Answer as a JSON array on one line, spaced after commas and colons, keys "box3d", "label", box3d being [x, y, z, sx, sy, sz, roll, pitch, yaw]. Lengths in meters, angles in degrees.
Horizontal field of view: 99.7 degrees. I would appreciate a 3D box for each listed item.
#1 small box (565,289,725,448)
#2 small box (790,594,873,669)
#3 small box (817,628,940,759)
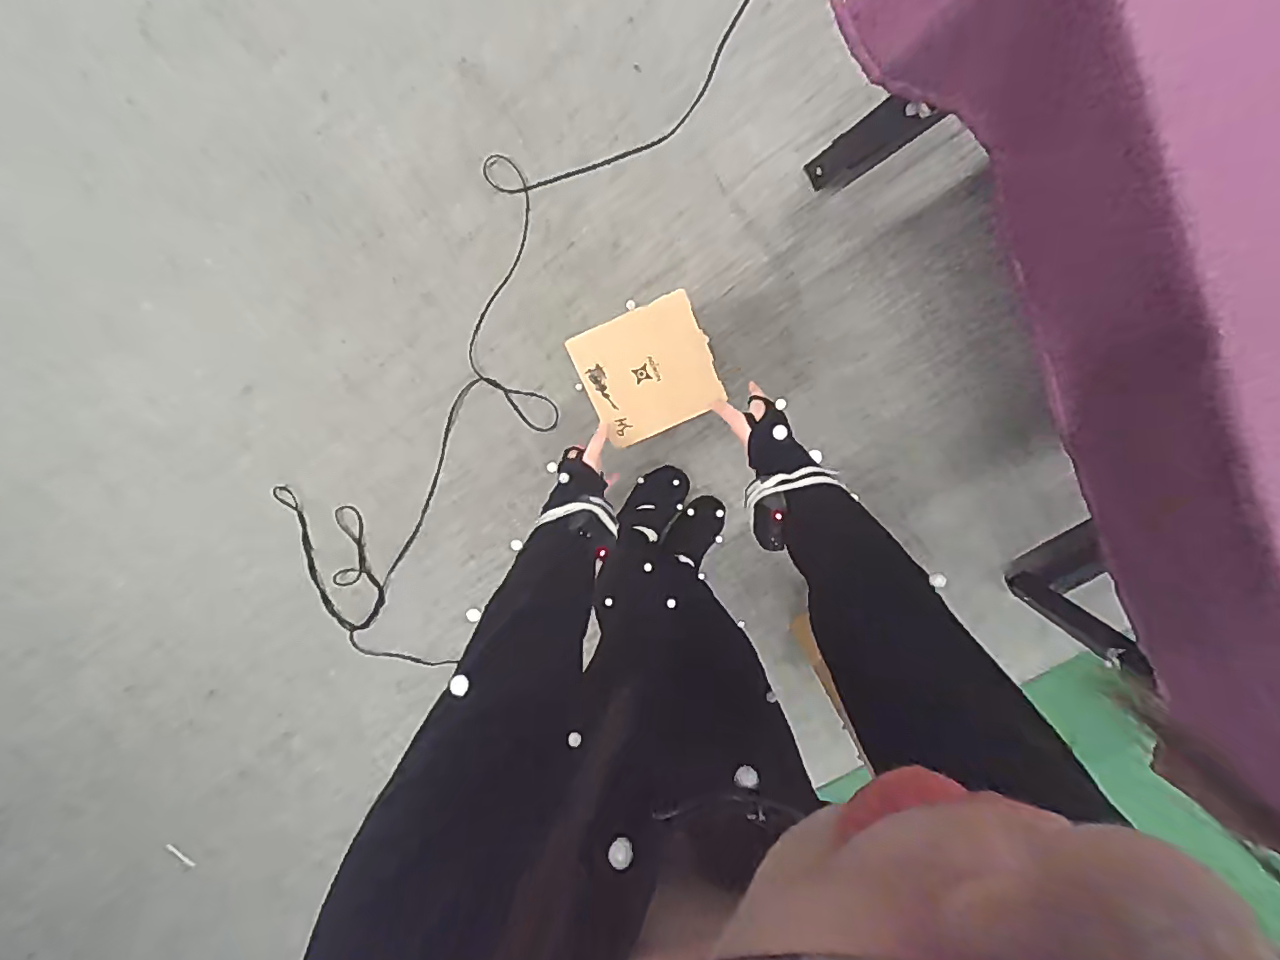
[{"box3d": [0.004, -0.170, 0.803, 0.179, 0.176, 0.168, -23, 106, 4], "label": "small box"}, {"box3d": [0.504, 0.411, 1.354, 0.168, 0.176, 0.179, -34, 106, 9], "label": "small box"}, {"box3d": [0.516, 0.467, 1.202, 0.179, 0.176, 0.168, -32, 108, 7], "label": "small box"}]
